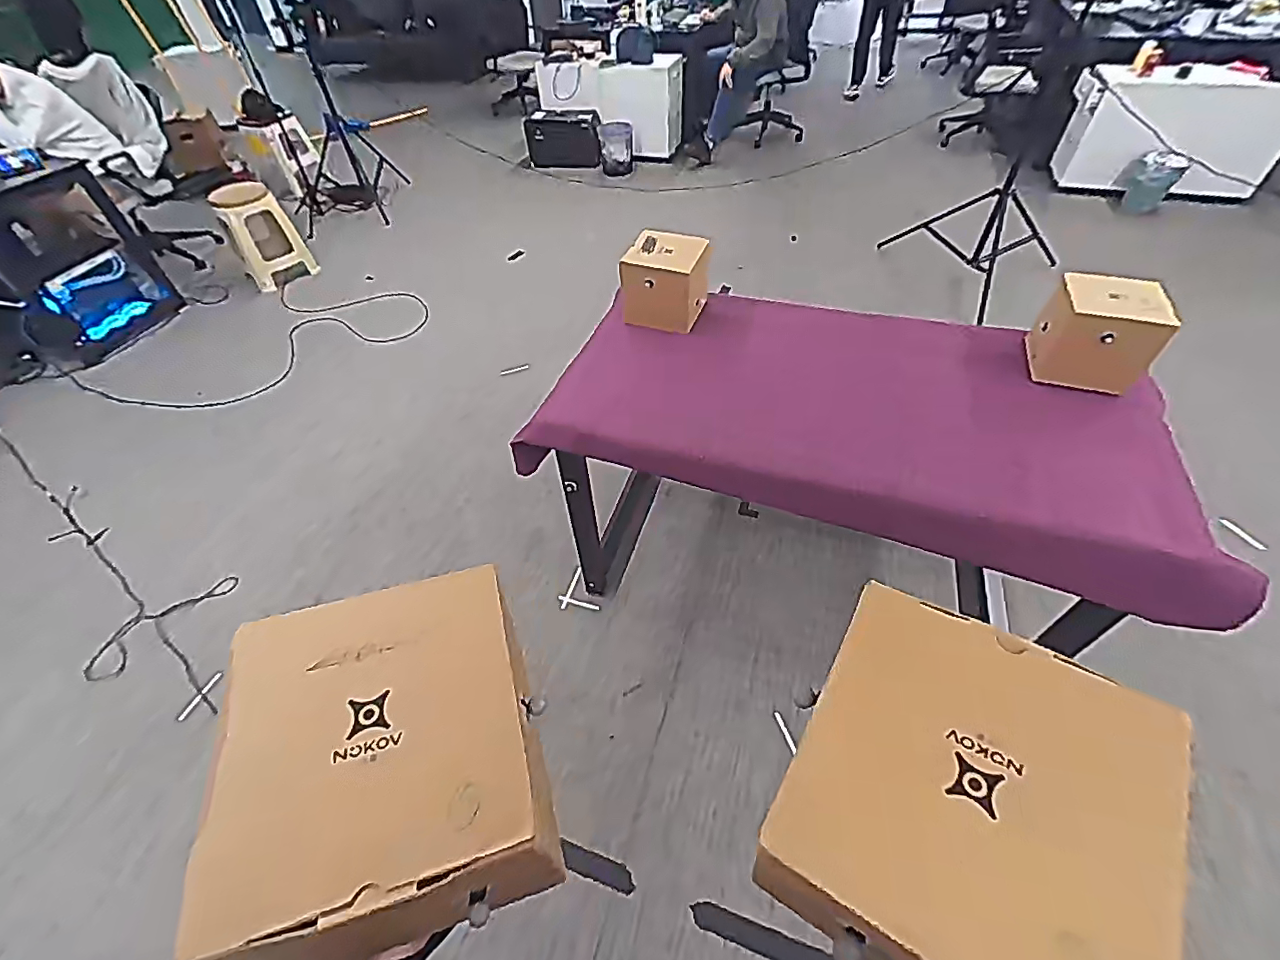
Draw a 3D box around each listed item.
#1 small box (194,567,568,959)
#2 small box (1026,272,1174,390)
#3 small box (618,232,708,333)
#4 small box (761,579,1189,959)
[{"bbox_3d":[-0.150,0.193,0.369,0.168,0.176,0.179,-13,49,-14],"label":"small box"},{"bbox_3d":[0.940,-0.310,1.131,0.179,0.176,0.168,14,51,14],"label":"small box"},{"bbox_3d":[0.060,-0.489,1.344,0.179,0.176,0.168,16,53,15],"label":"small box"},{"bbox_3d":[0.187,0.202,0.337,0.168,0.176,0.179,21,55,26],"label":"small box"}]
